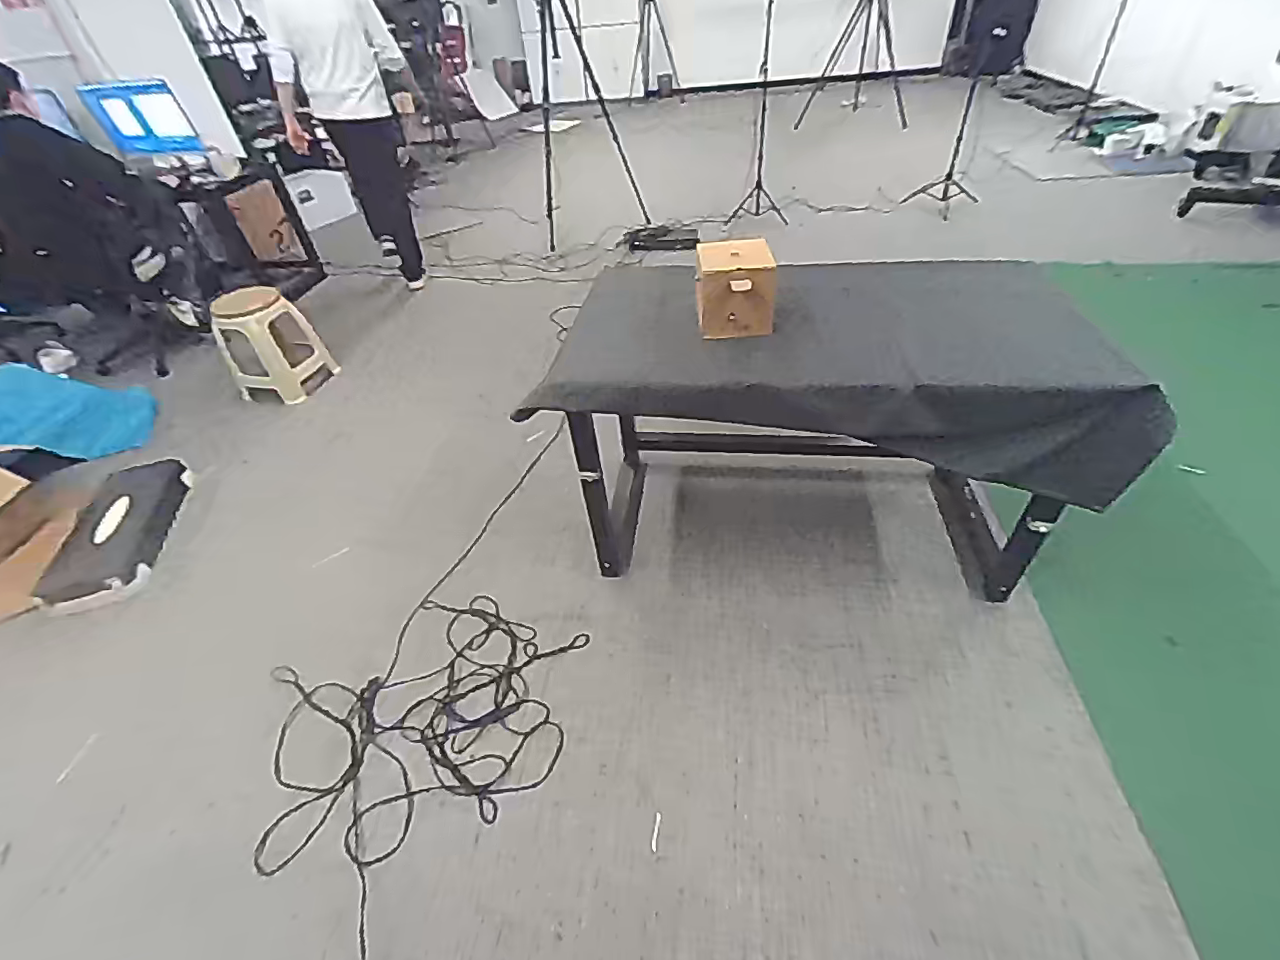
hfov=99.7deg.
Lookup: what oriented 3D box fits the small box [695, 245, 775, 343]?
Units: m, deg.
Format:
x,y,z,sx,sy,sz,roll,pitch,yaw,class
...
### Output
x,y,z,sx,sy,sz,roll,pitch,yaw,class
0.220,-0.447,1.302,0.168,0.176,0.179,-4,42,3,small box
